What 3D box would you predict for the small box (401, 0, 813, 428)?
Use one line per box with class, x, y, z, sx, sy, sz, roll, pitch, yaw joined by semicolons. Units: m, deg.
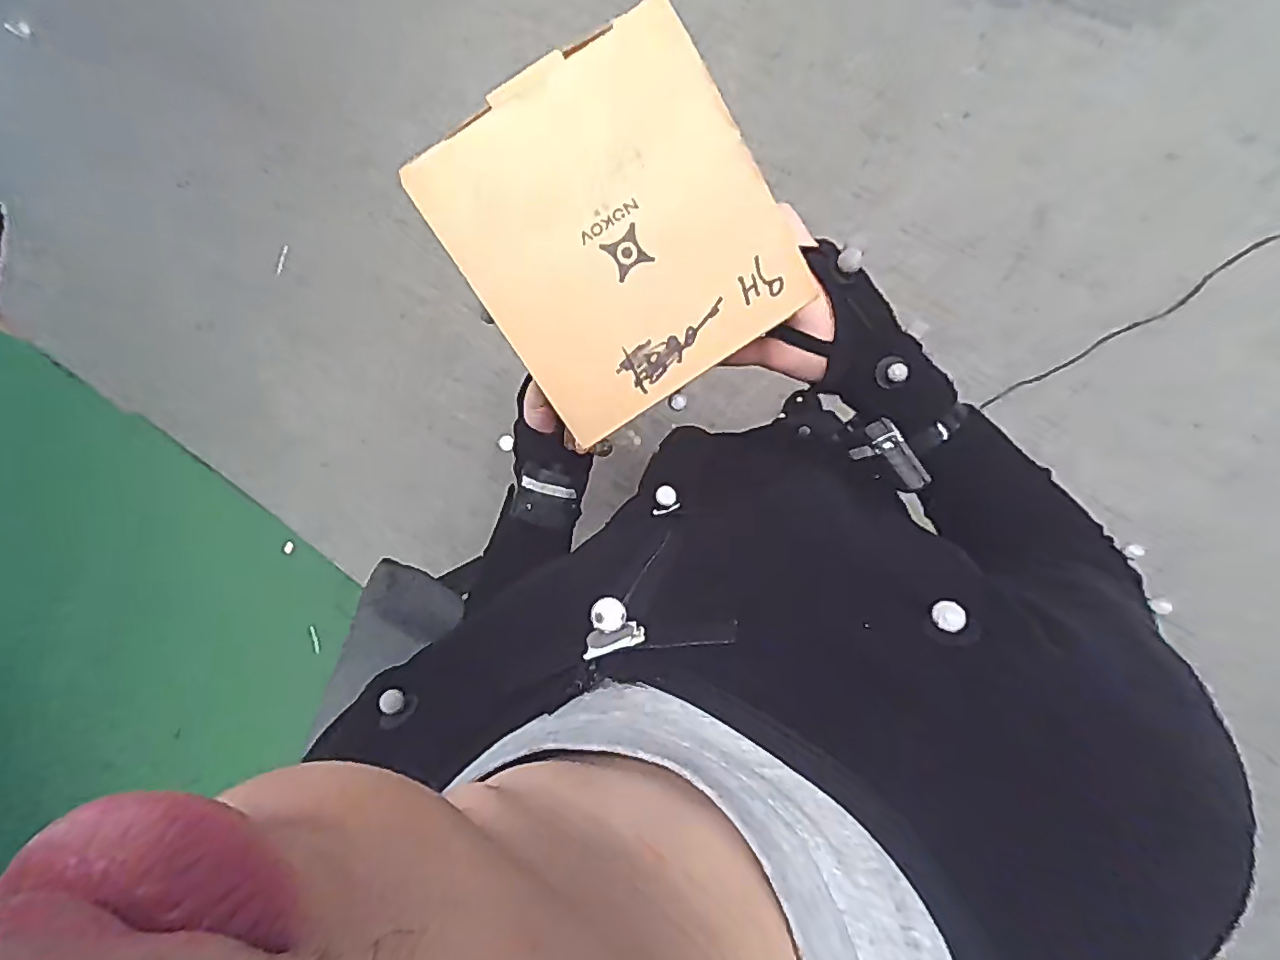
small box;-0.019;-0.157;0.372;0.168;0.176;0.179;-32;103;4
